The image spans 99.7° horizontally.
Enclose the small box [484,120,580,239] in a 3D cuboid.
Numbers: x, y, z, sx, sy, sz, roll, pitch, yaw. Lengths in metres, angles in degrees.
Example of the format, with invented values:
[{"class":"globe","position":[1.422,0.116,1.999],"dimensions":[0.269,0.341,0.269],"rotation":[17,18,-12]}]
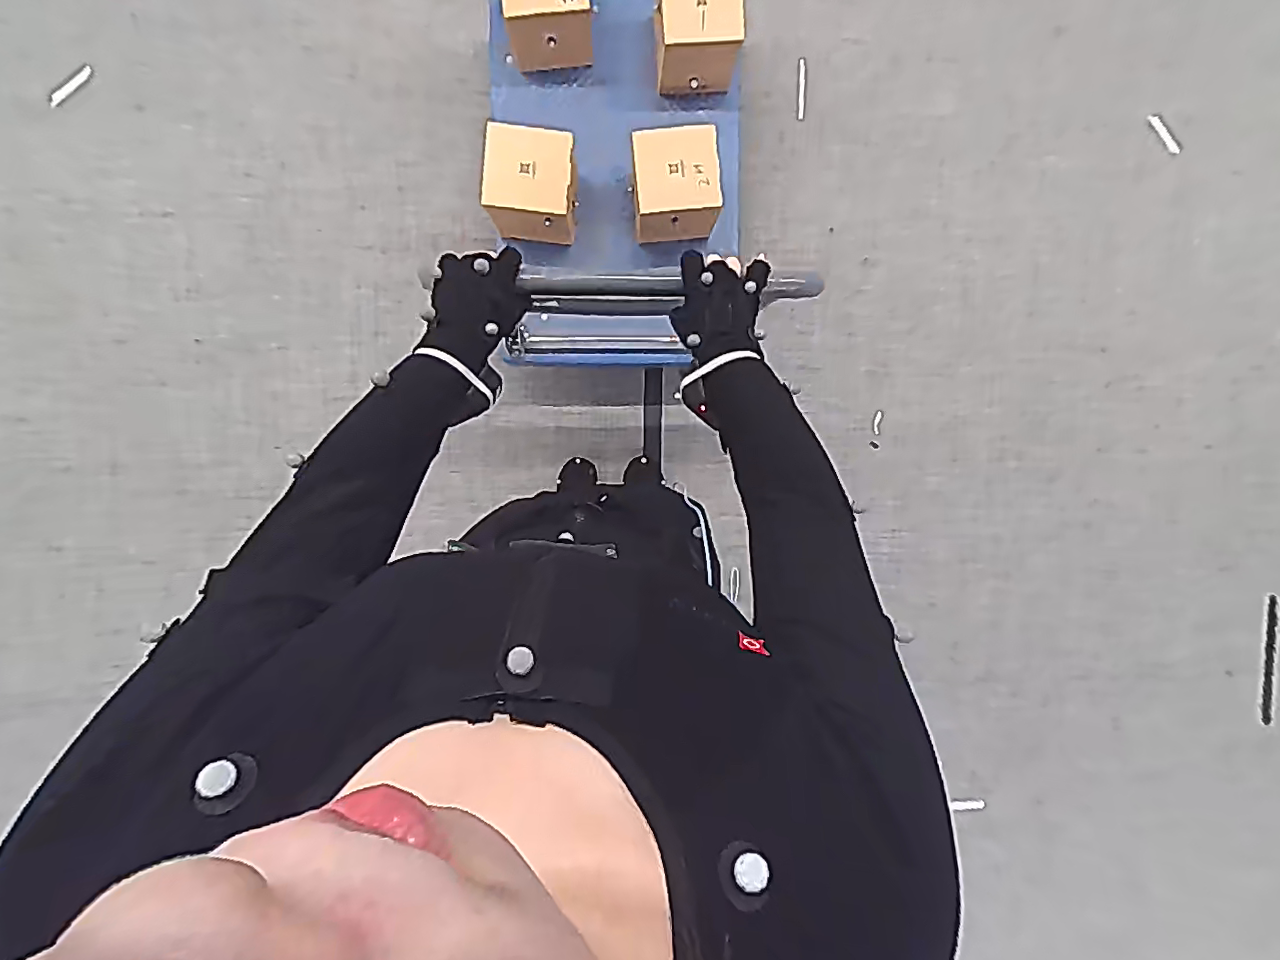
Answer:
[{"class":"small box","position":[-0.229,-0.644,1.179],"dimensions":[0.179,0.176,0.168],"rotation":[5,94,-4]}]

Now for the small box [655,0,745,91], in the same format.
[{"class":"small box","position":[0.124,-0.983,1.166],"dimensions":[0.168,0.176,0.179],"rotation":[-4,96,-2]}]

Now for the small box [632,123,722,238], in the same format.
[{"class":"small box","position":[0.076,-0.648,1.190],"dimensions":[0.179,0.176,0.168],"rotation":[-6,95,-1]}]
